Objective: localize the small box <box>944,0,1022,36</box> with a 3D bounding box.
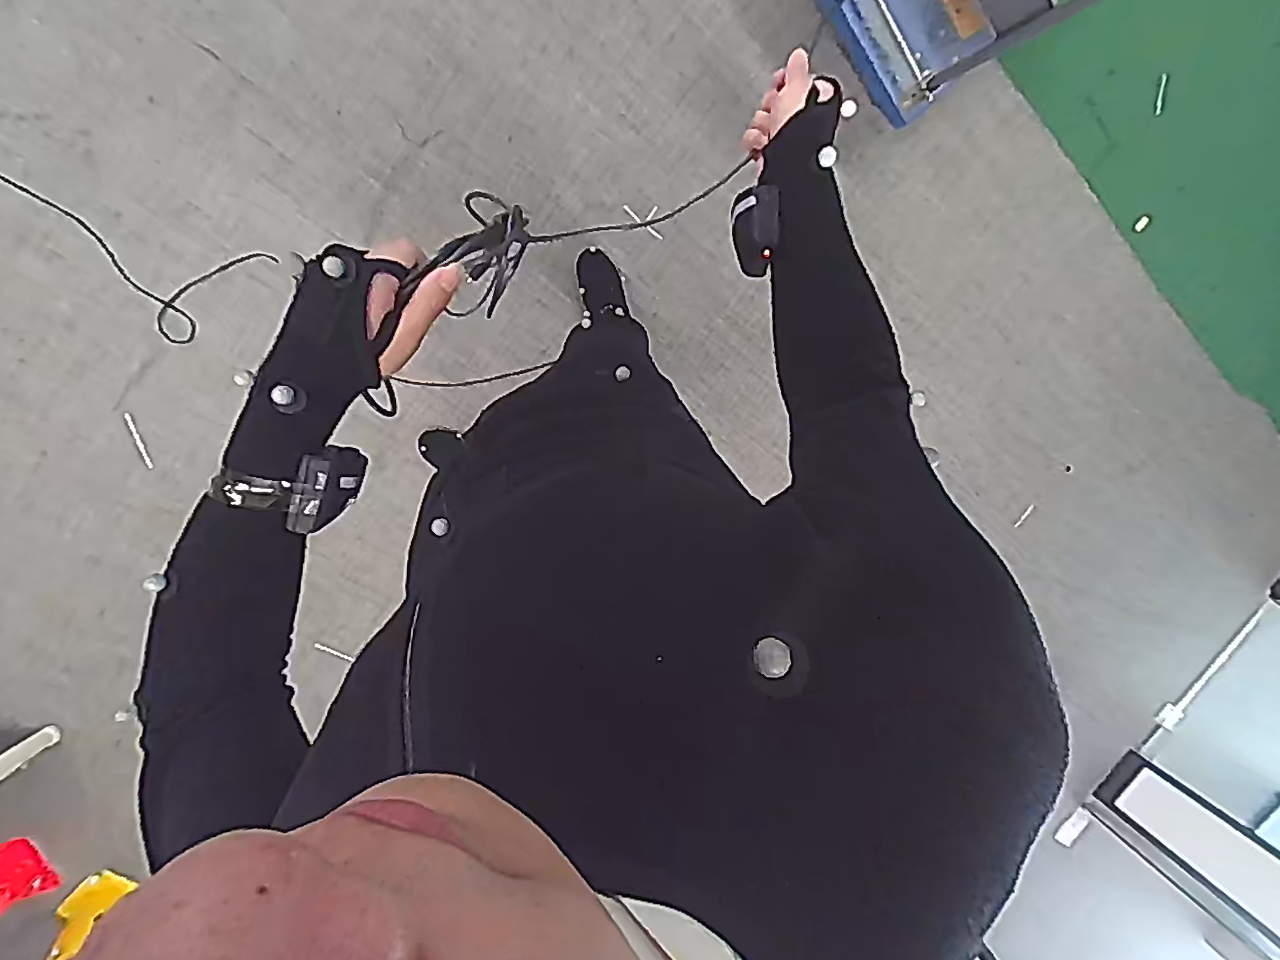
[{"bbox_3d":[0.826,-1.181,1.231,0.179,0.176,0.168,-42,109,2],"label":"small box"}]
